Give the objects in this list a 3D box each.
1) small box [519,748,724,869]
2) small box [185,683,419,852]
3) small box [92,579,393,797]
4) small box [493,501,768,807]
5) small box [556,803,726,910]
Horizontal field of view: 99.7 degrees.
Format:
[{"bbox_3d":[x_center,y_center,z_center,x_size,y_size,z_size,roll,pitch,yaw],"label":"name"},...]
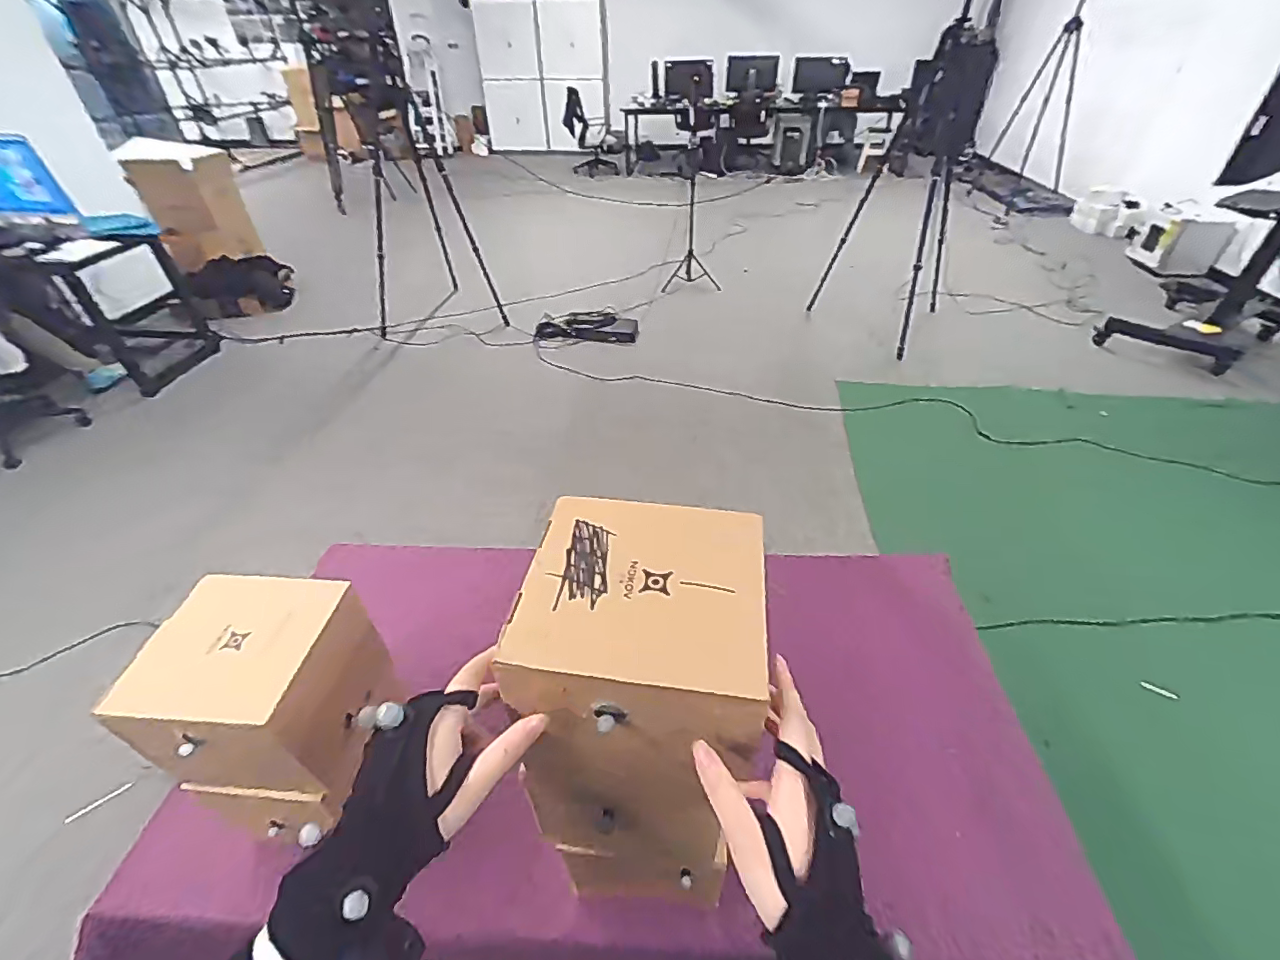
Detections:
[{"bbox_3d":[-0.002,0.264,0.547,0.179,0.176,0.168,4,40,8],"label":"small box"},{"bbox_3d":[-0.414,0.356,0.705,0.168,0.176,0.179,3,40,5],"label":"small box"},{"bbox_3d":[-0.411,0.231,0.601,0.179,0.176,0.168,3,41,4],"label":"small box"},{"bbox_3d":[0.005,0.138,0.440,0.179,0.176,0.168,5,40,7],"label":"small box"},{"bbox_3d":[0.009,0.391,0.651,0.179,0.176,0.168,2,40,4],"label":"small box"}]
